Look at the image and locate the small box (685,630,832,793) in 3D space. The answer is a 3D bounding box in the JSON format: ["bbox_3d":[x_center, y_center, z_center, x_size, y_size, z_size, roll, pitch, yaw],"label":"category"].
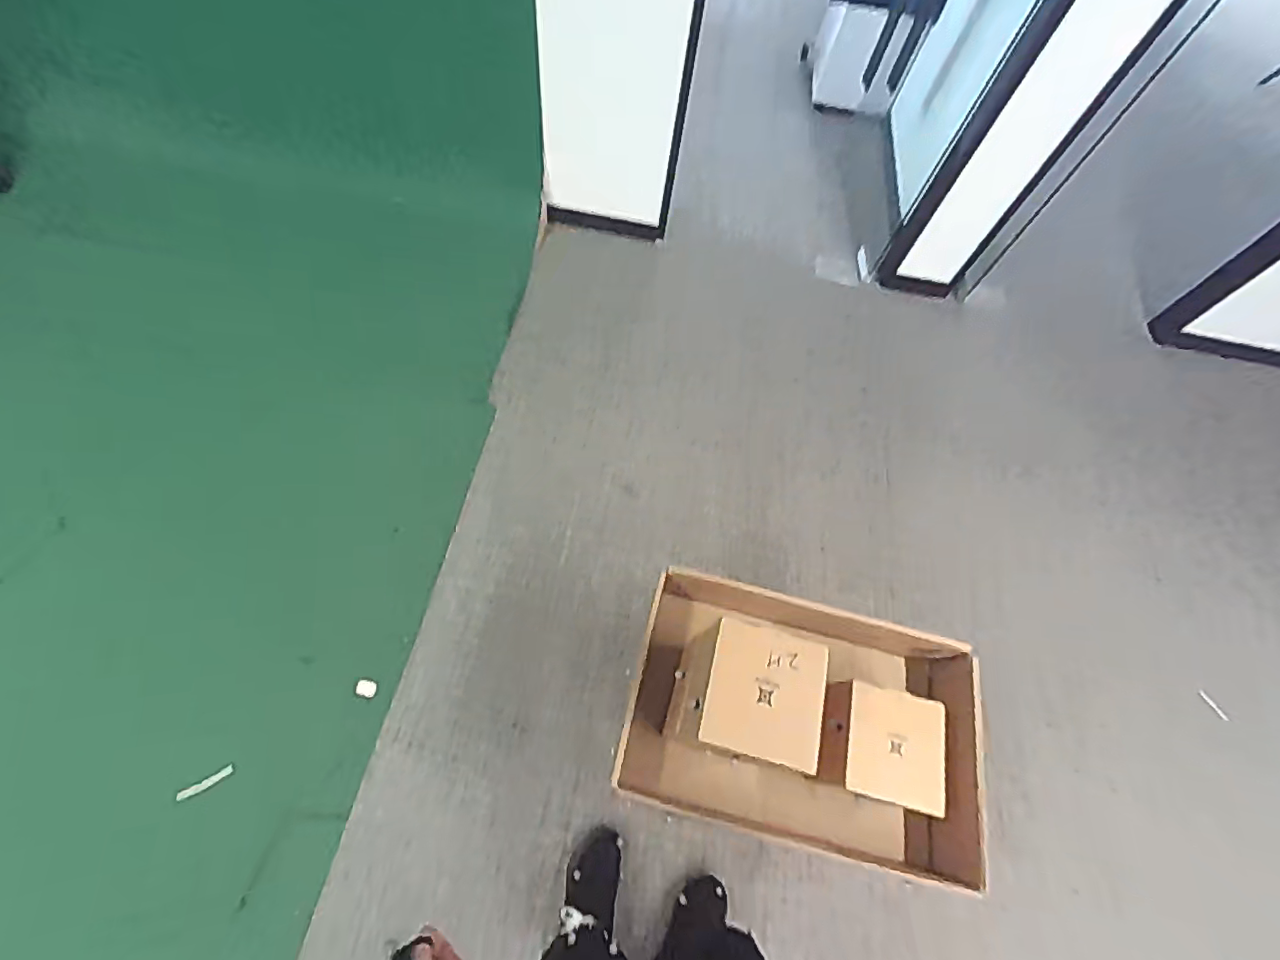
[{"bbox_3d":[0.172,0.353,0.822,0.168,0.176,0.179,16,61,2],"label":"small box"}]

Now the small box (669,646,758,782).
[{"bbox_3d":[0.155,0.423,0.970,0.168,0.176,0.179,17,61,4],"label":"small box"}]
